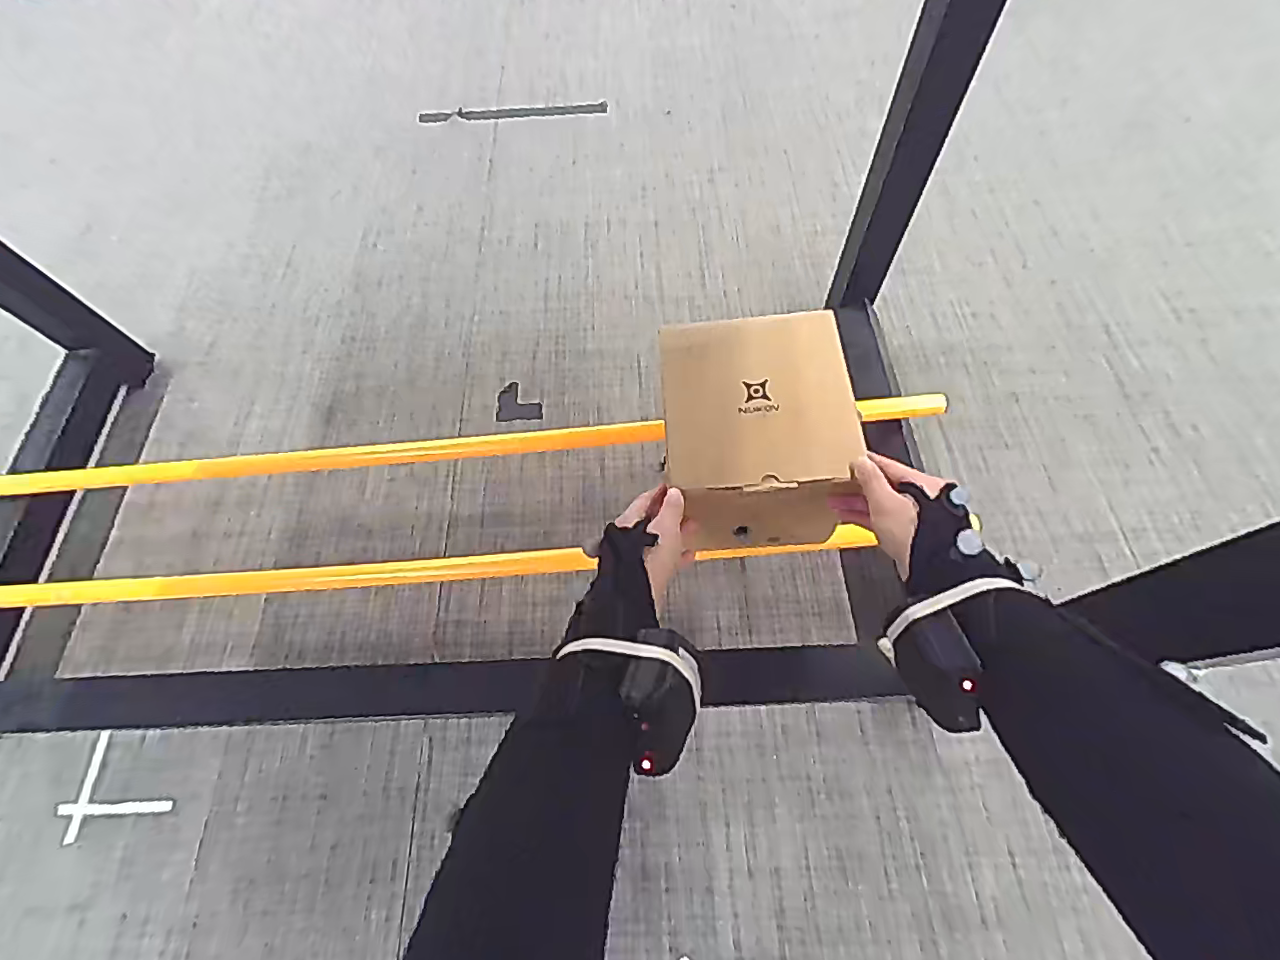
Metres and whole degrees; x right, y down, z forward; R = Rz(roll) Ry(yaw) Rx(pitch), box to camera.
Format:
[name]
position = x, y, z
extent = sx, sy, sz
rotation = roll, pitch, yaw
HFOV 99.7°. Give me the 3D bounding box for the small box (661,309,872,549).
[small box]
position = 0.108, -0.043, 0.543
extent = 0.168, 0.176, 0.179
rotation = -4, 65, 3
